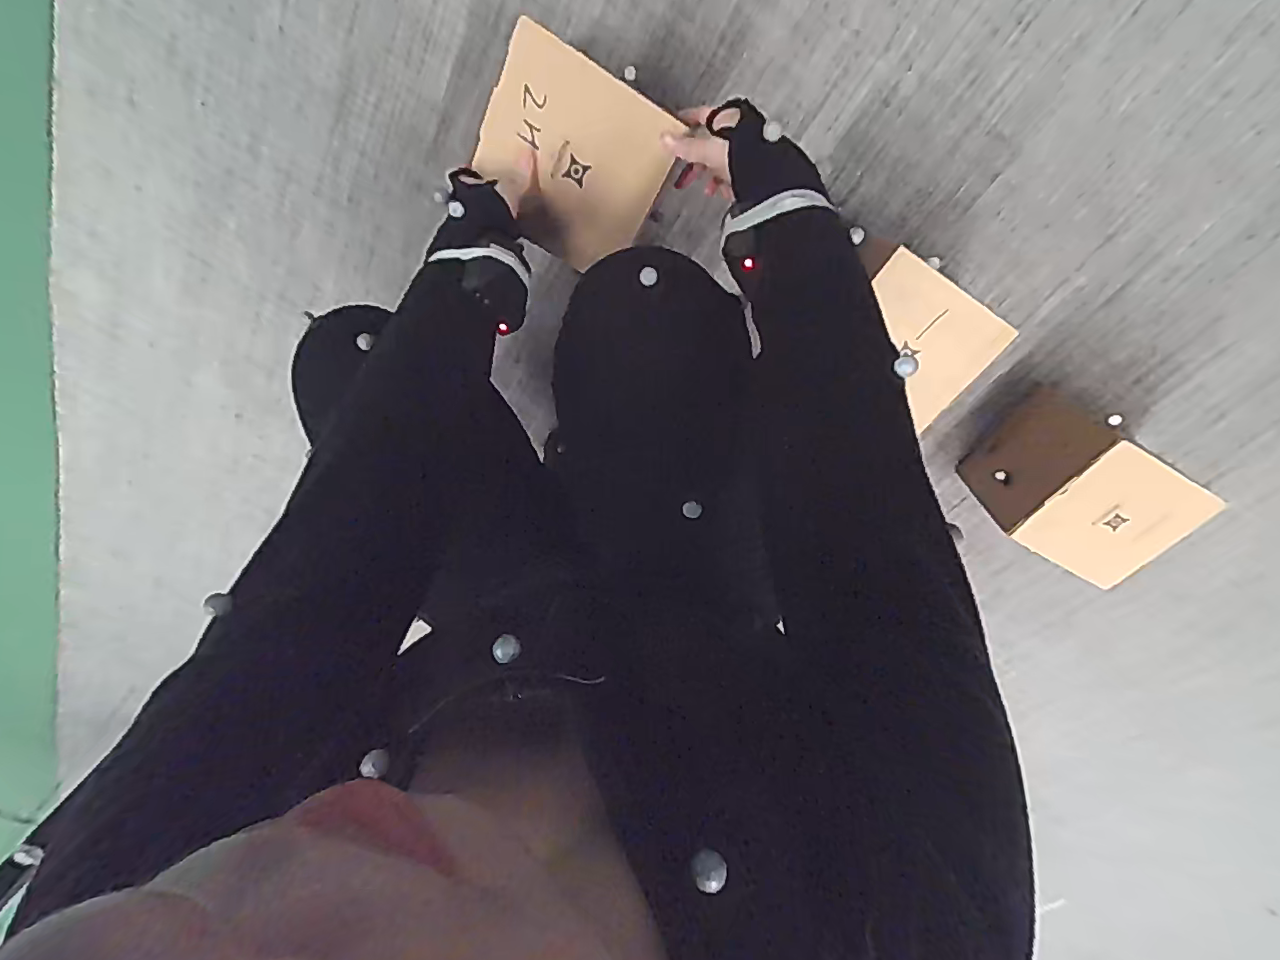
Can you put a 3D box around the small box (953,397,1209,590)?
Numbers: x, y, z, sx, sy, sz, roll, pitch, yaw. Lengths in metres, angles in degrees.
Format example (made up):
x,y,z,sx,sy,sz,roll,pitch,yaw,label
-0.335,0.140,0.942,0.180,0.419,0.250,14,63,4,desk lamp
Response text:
x,y,z,sx,sy,sz,roll,pitch,yaw,label
0.574,0.009,0.736,0.179,0.176,0.168,27,121,-10,small box

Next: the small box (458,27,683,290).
x,y,z,sx,sy,sz,roll,pitch,yaw,label
-0.065,-0.344,0.595,0.179,0.176,0.168,29,120,-11,small box
